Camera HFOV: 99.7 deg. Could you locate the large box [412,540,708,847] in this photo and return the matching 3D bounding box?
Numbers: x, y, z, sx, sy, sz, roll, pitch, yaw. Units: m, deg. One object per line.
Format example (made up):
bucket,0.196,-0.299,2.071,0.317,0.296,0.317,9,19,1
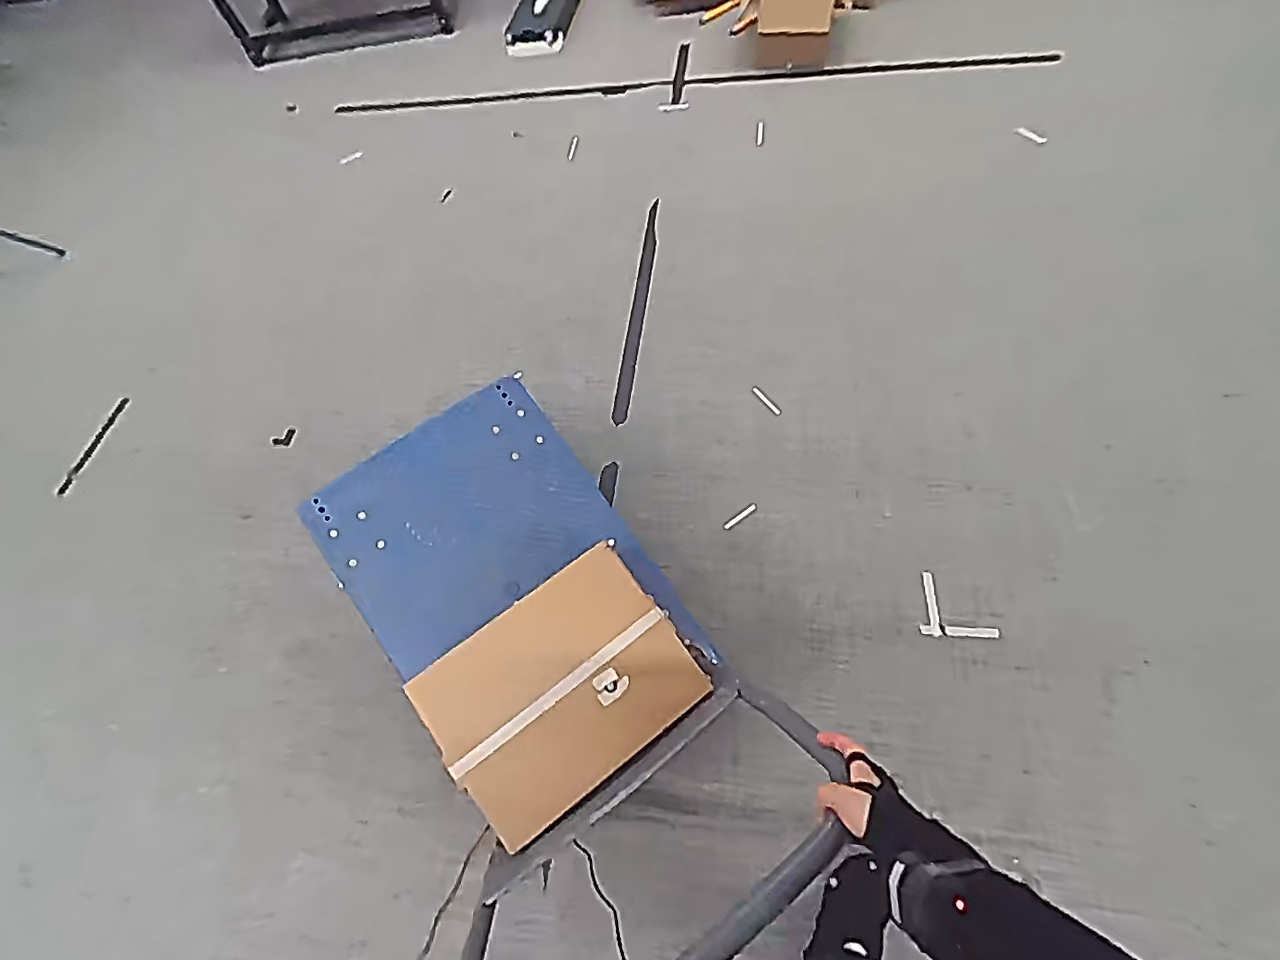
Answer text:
large box,-0.142,0.374,1.041,0.408,0.320,0.320,-36,84,-12
